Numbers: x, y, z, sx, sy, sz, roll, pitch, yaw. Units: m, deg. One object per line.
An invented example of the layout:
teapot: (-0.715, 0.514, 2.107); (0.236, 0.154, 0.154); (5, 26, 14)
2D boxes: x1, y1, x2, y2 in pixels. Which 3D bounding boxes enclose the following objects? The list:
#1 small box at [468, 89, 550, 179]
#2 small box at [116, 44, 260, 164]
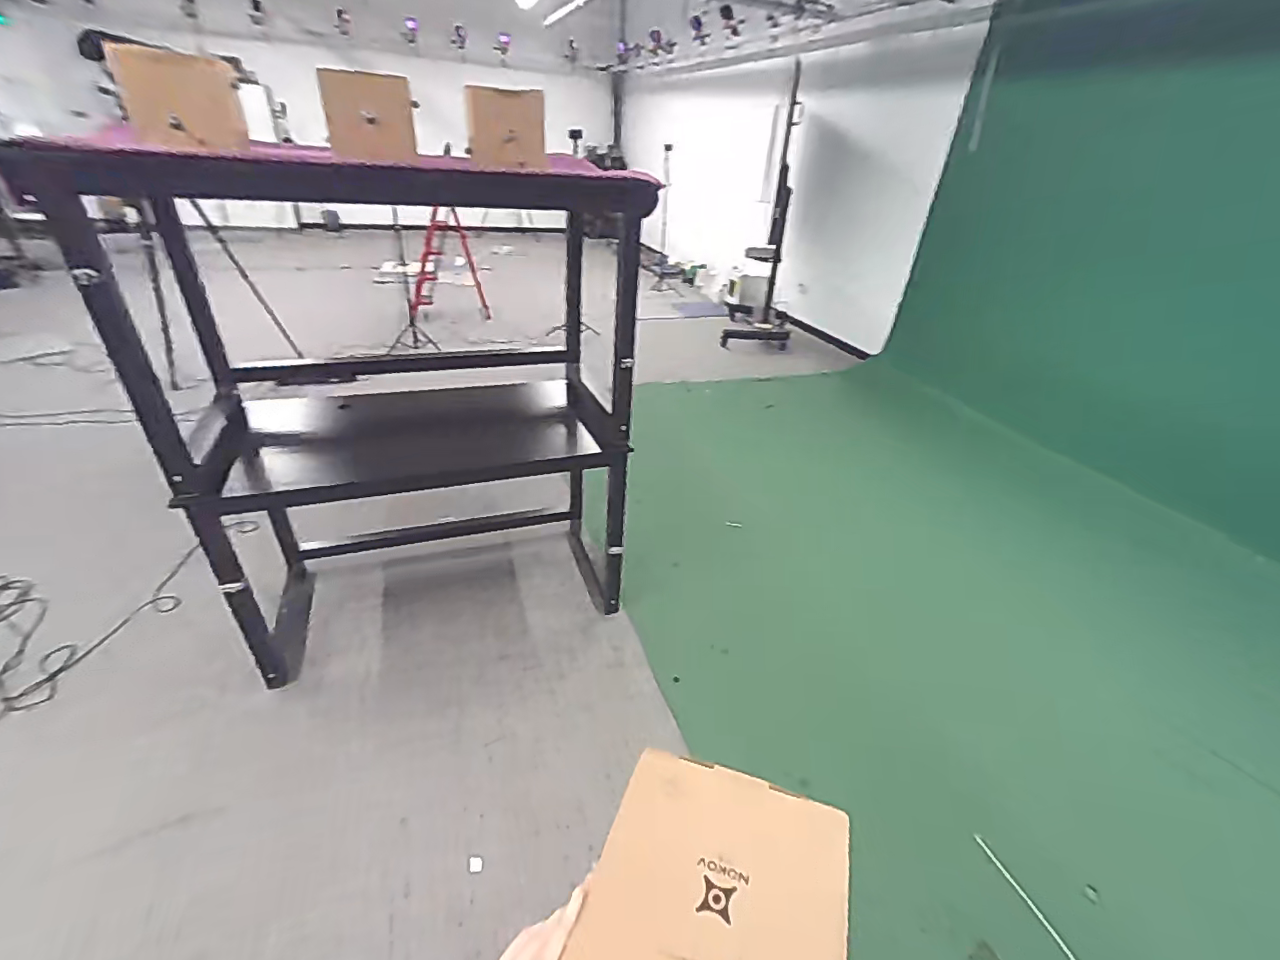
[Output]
small box: (-0.313, -0.828, 1.297); (0.168, 0.176, 0.179); (-8, 35, -19)
small box: (-0.882, -0.739, 1.078); (0.168, 0.176, 0.179); (-9, 33, -23)
